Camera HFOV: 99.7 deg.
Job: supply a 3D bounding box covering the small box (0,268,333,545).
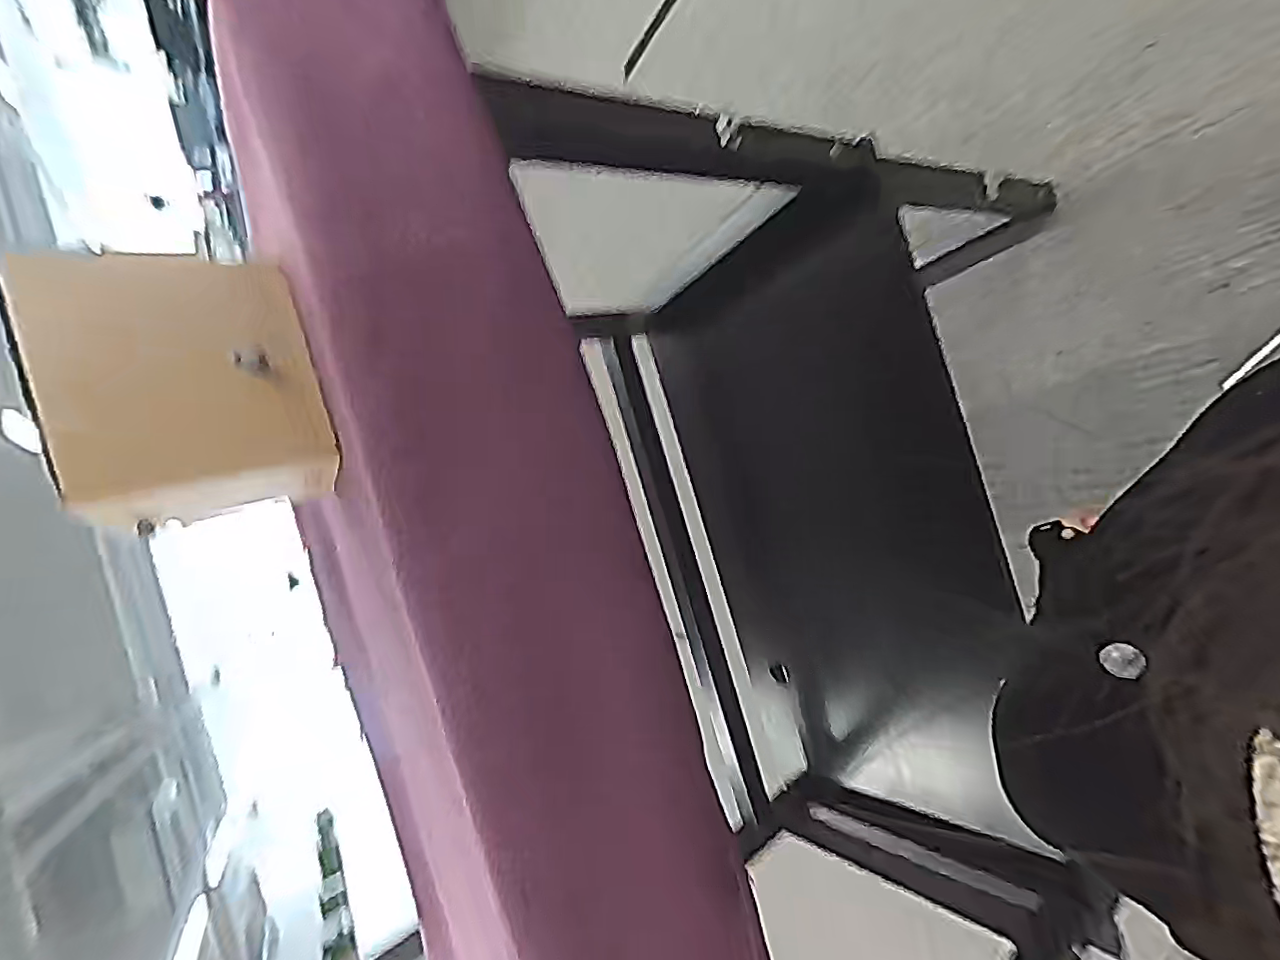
[{"bbox_3d":[-0.380,-0.058,0.459,0.168,0.176,0.179,-22,84,57],"label":"small box"}]
